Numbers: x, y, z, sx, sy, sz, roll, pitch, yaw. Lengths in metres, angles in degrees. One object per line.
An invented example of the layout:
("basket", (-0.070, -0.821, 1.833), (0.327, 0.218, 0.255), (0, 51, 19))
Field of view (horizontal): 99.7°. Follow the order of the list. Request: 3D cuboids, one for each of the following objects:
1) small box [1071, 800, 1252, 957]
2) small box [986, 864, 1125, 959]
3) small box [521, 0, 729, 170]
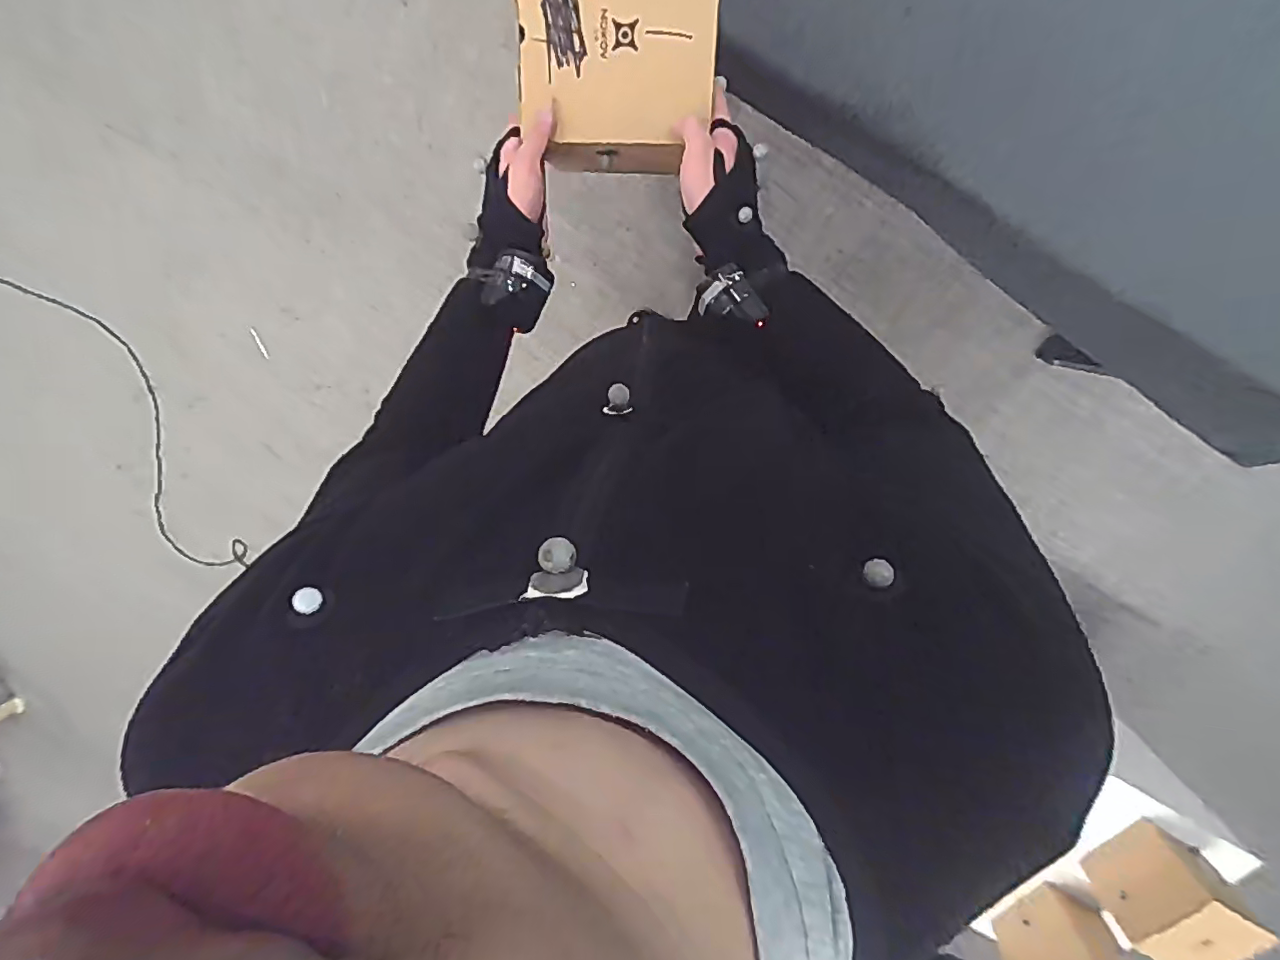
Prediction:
("small box", (1.040, 0.806, 1.104), (0.168, 0.176, 0.179), (30, 109, -8))
("small box", (0.904, 0.999, 1.185), (0.168, 0.176, 0.179), (31, 110, -7))
("small box", (-0.009, -0.408, 0.526), (0.179, 0.176, 0.168), (3, 112, 2))
